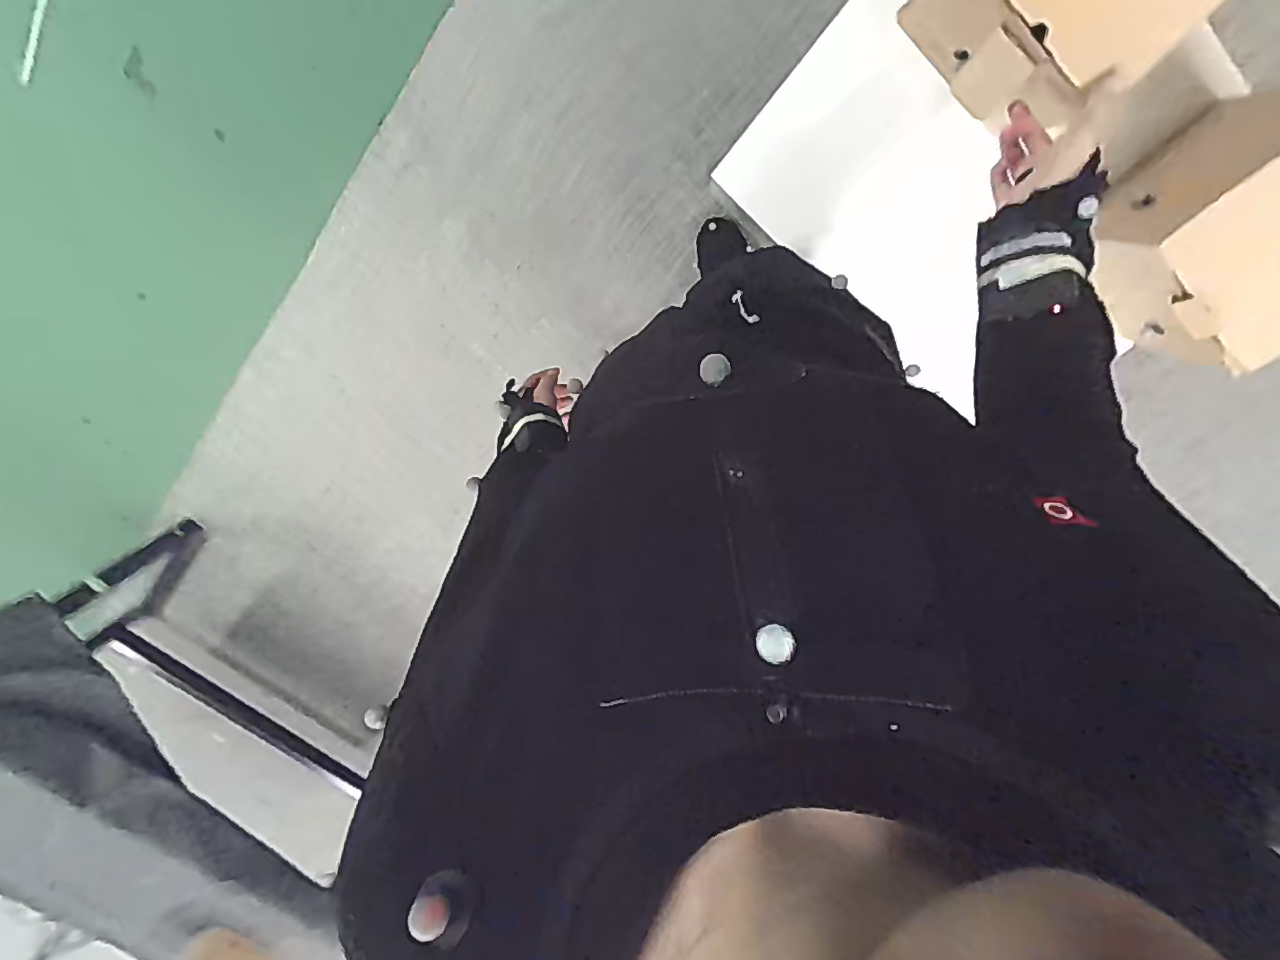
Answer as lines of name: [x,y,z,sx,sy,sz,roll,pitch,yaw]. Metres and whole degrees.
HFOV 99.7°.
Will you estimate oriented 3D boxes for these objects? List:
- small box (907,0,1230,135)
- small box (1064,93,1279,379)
small box: [0.362,-0.424,0.444,0.168,0.176,0.179,39,116,-13]
small box: [0.559,-0.232,0.517,0.168,0.176,0.179,42,114,-15]
